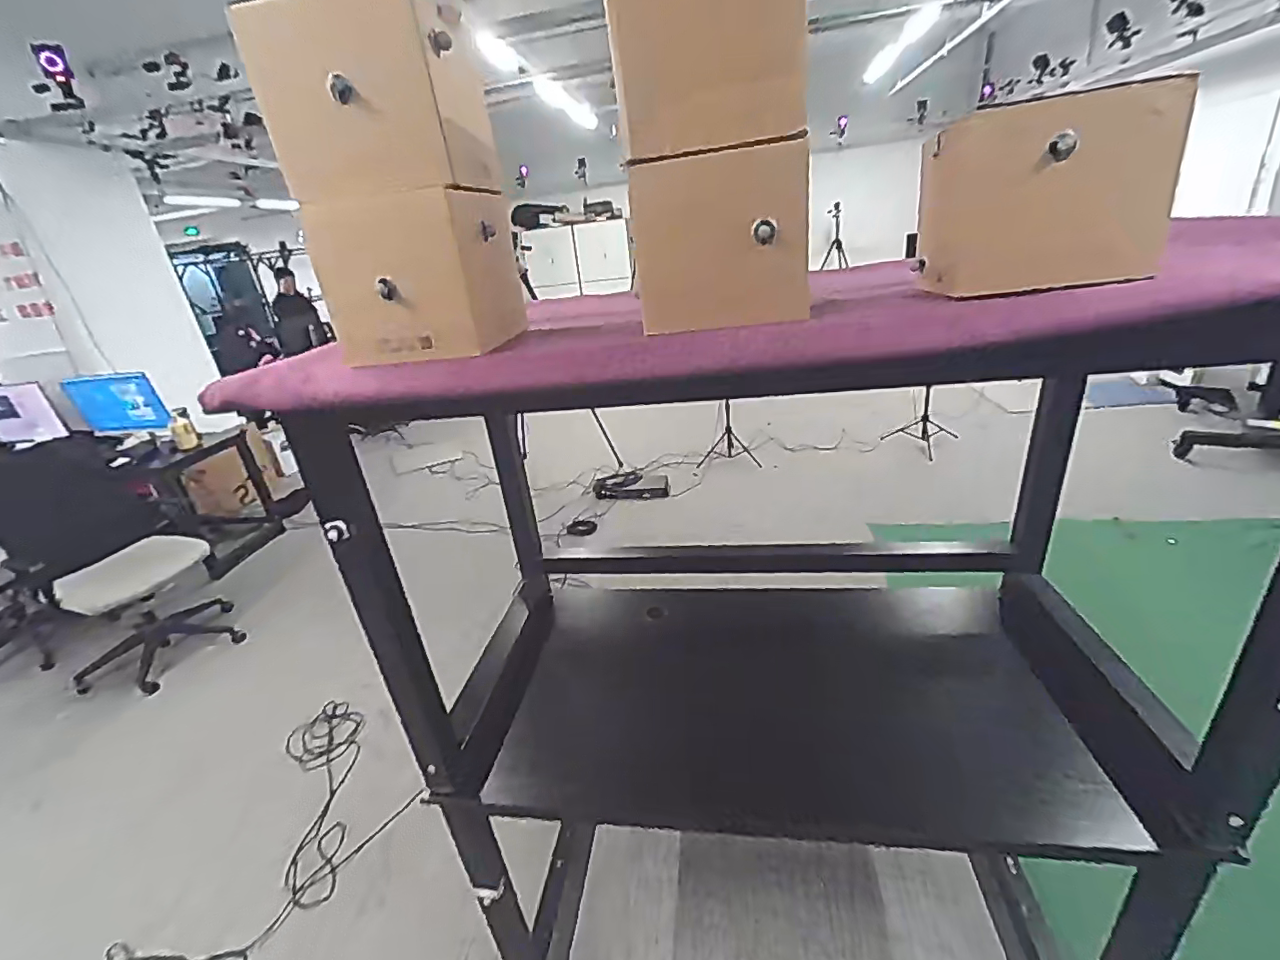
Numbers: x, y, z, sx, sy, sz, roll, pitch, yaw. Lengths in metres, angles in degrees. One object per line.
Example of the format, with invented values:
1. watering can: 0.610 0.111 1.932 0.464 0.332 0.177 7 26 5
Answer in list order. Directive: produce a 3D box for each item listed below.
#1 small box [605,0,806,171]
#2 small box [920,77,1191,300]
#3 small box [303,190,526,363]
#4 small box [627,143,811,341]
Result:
1. small box: 0.068 -0.412 0.552 0.179 0.176 0.168 -4 23 8
2. small box: 0.412 -0.290 0.578 0.179 0.176 0.168 -2 22 12
3. small box: -0.248 -0.239 0.647 0.168 0.176 0.179 -2 24 8
4. small box: 0.093 -0.263 0.615 0.179 0.176 0.168 -4 23 10
